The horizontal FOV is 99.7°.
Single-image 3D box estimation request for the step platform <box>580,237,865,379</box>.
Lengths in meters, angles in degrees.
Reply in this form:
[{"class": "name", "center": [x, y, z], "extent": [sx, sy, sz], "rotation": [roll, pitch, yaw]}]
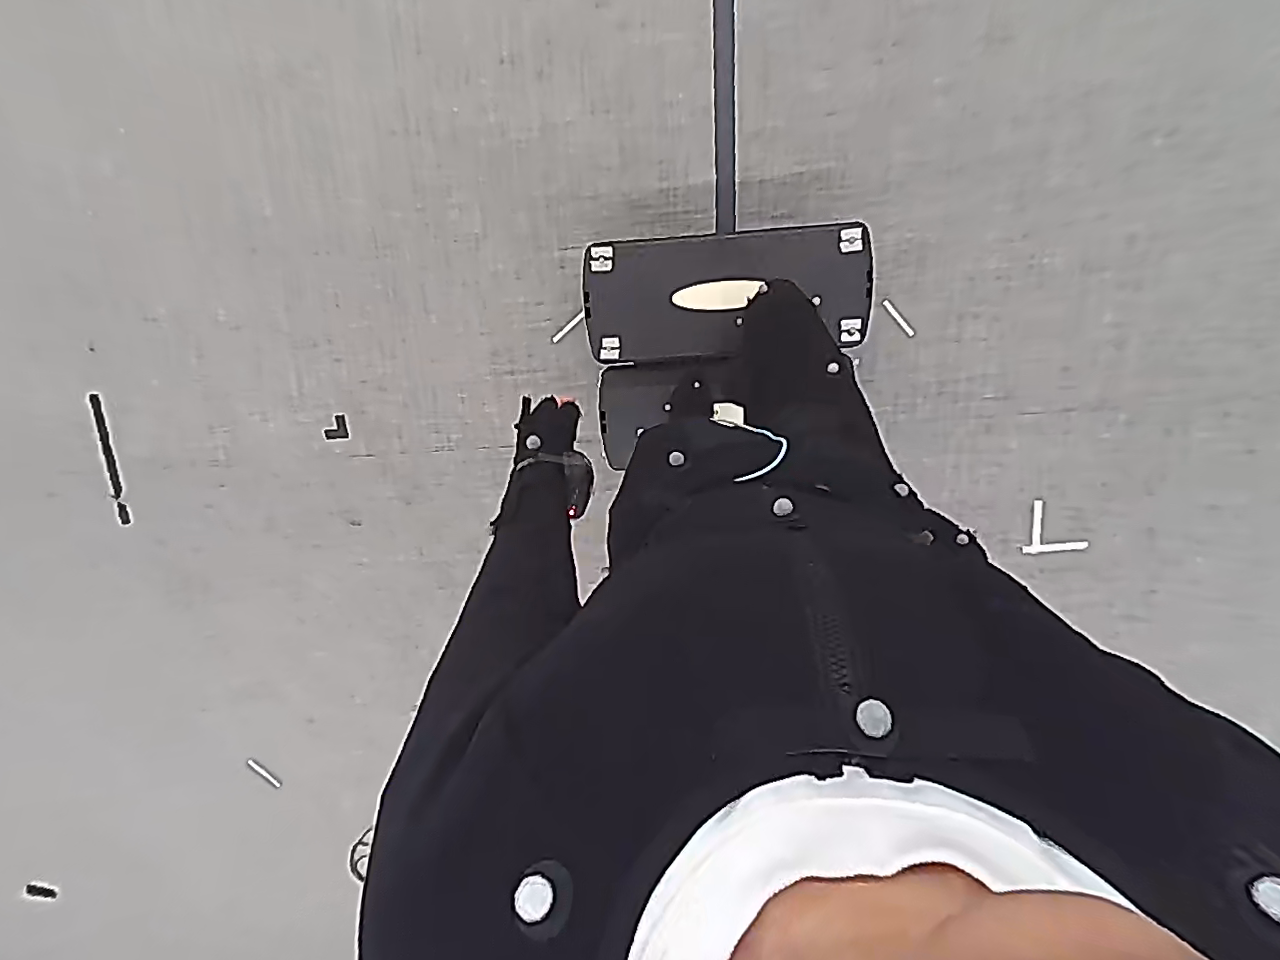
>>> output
[{"class": "step platform", "center": [0.193, -0.419, 1.345], "extent": [0.684, 0.204, 0.286], "rotation": [-4, 104, 3]}]
